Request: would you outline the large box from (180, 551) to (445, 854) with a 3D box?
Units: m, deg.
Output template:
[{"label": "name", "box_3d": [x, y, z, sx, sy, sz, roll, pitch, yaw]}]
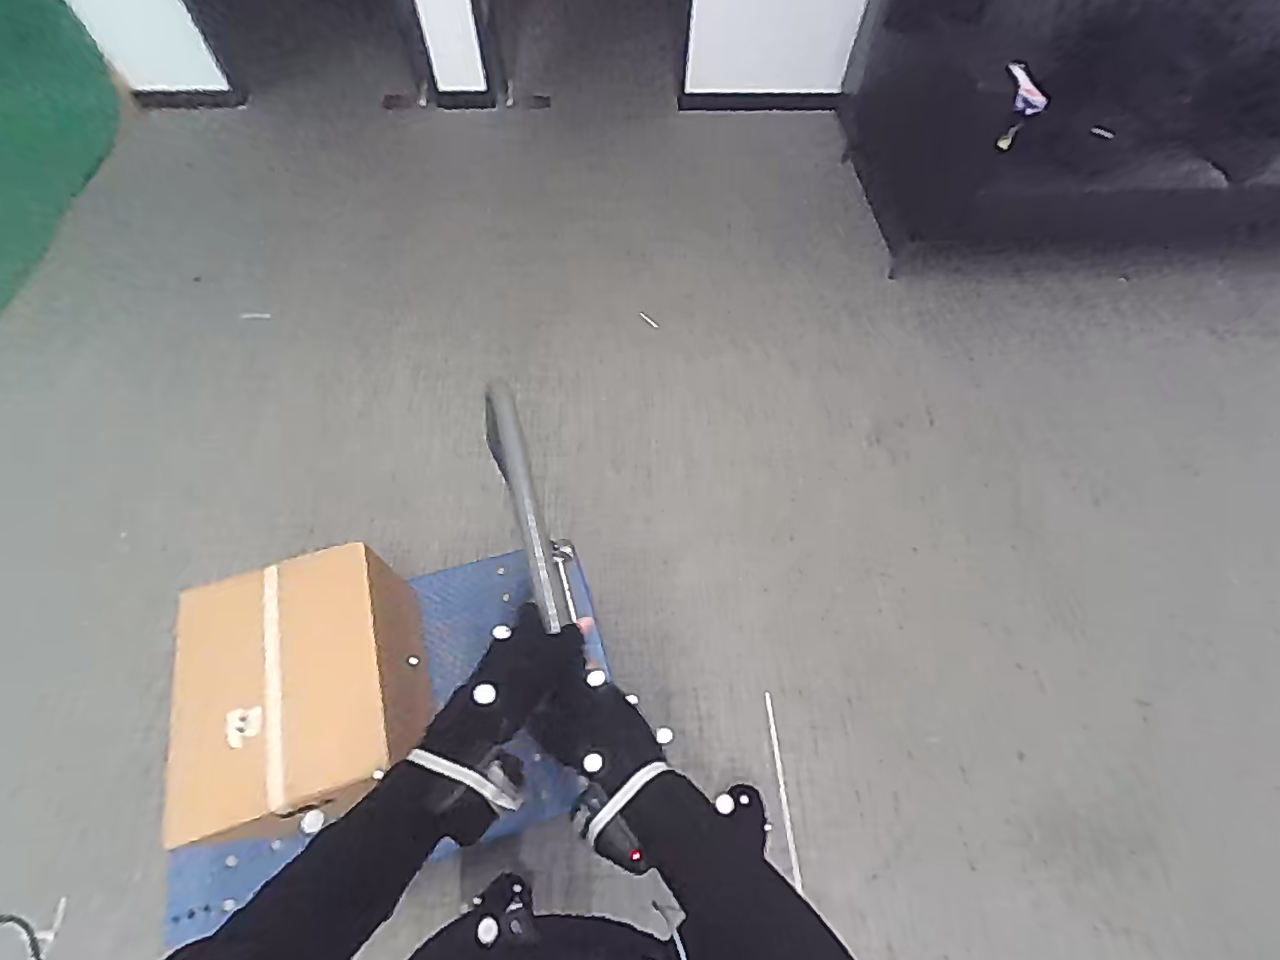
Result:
[{"label": "large box", "box_3d": [-0.592, 0.408, 1.020, 0.320, 0.320, 0.408, -16, 62, -12]}]
